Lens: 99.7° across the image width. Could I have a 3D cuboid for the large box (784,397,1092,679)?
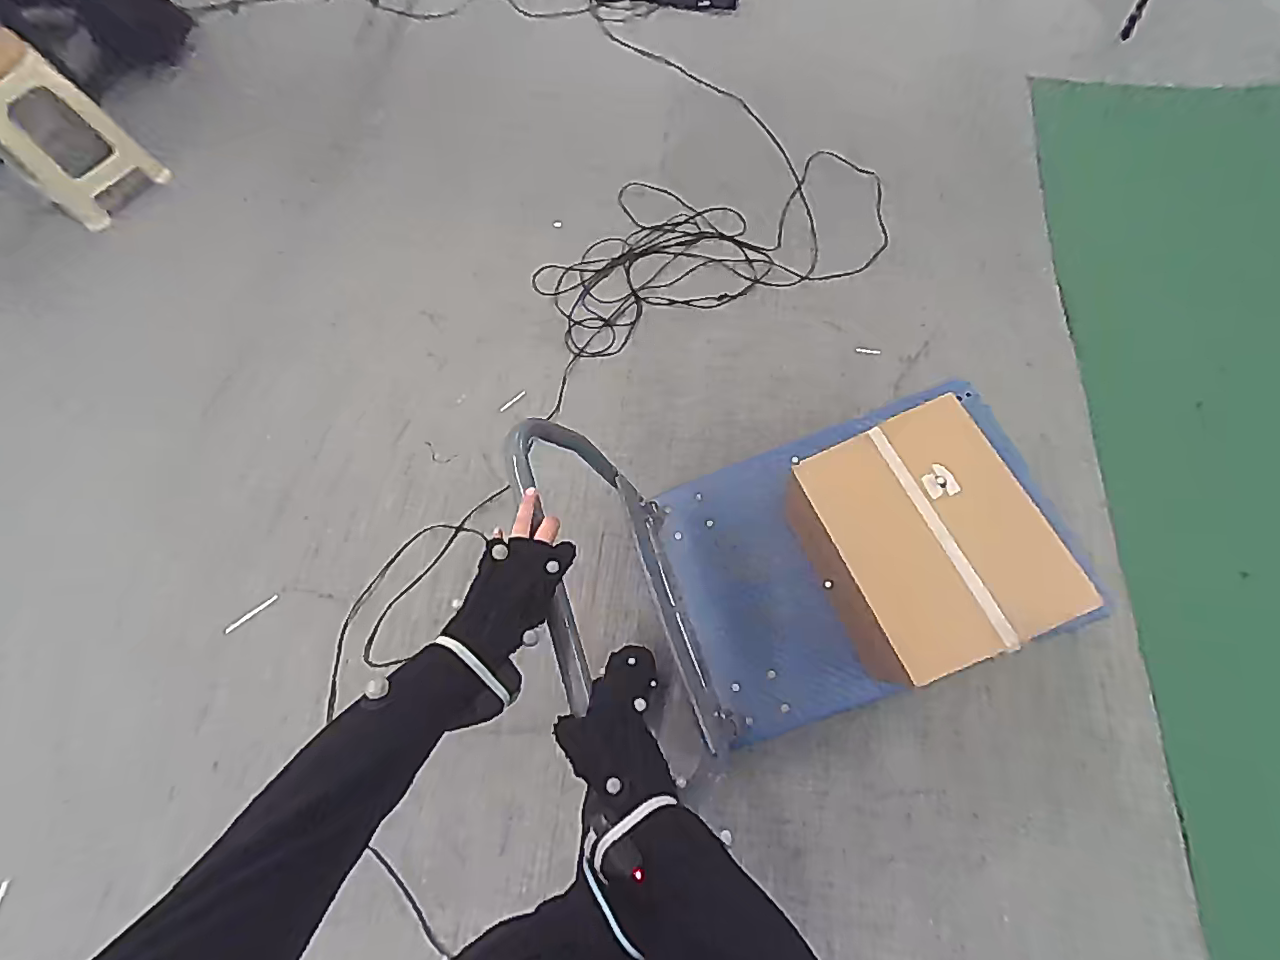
[{"bbox_3d":[0.516,0.126,1.046,0.320,0.320,0.408,-25,69,2],"label":"large box"}]
